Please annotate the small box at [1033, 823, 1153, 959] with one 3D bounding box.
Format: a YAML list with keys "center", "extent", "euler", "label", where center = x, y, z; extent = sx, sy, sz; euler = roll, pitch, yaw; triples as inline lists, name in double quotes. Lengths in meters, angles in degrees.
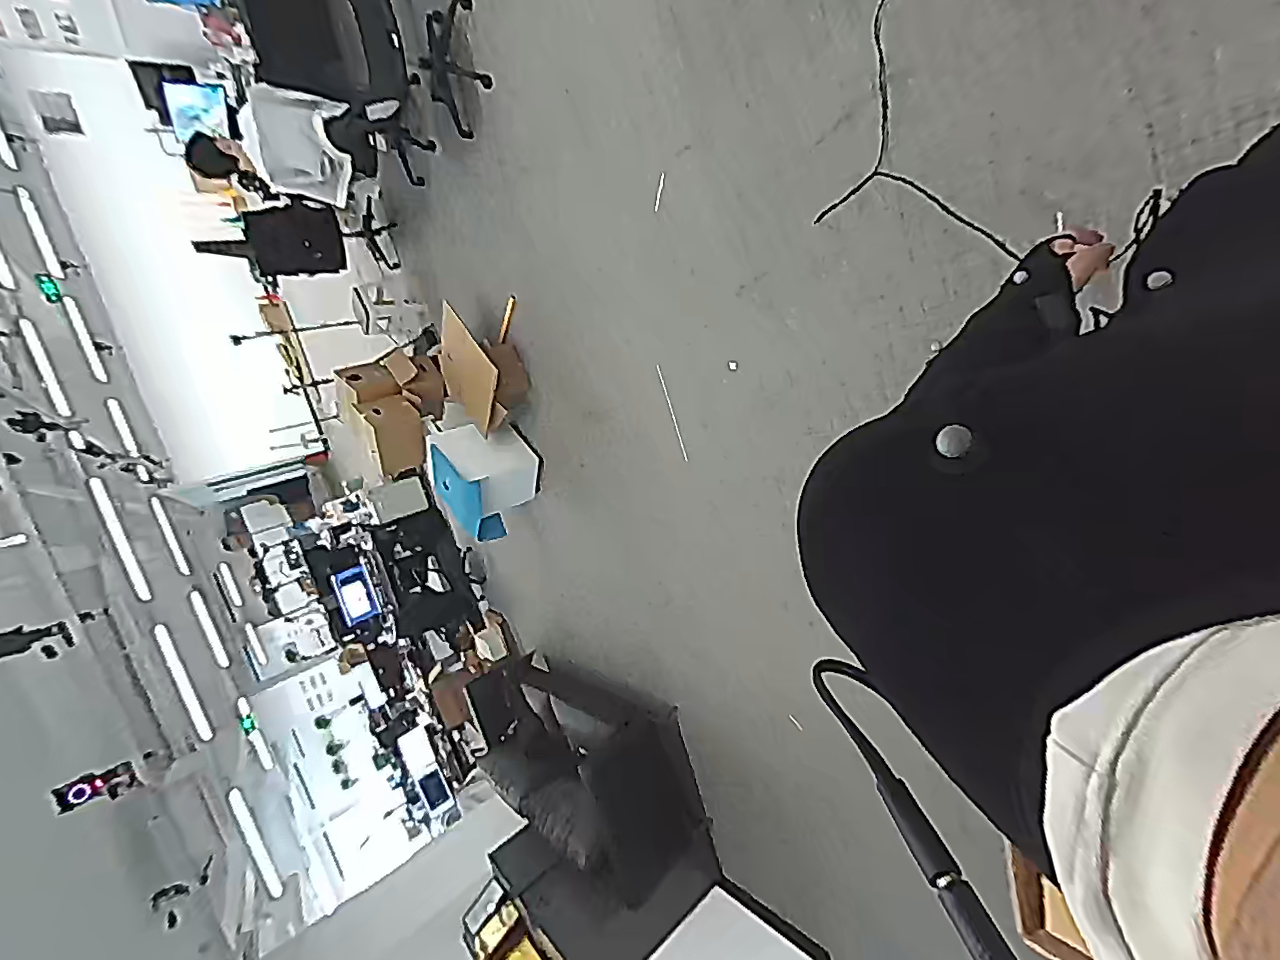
- center: [0.975, 0.898, 1.162]
  extent: [0.168, 0.176, 0.179]
  euler: [4, 109, 52]
  label: "small box"
